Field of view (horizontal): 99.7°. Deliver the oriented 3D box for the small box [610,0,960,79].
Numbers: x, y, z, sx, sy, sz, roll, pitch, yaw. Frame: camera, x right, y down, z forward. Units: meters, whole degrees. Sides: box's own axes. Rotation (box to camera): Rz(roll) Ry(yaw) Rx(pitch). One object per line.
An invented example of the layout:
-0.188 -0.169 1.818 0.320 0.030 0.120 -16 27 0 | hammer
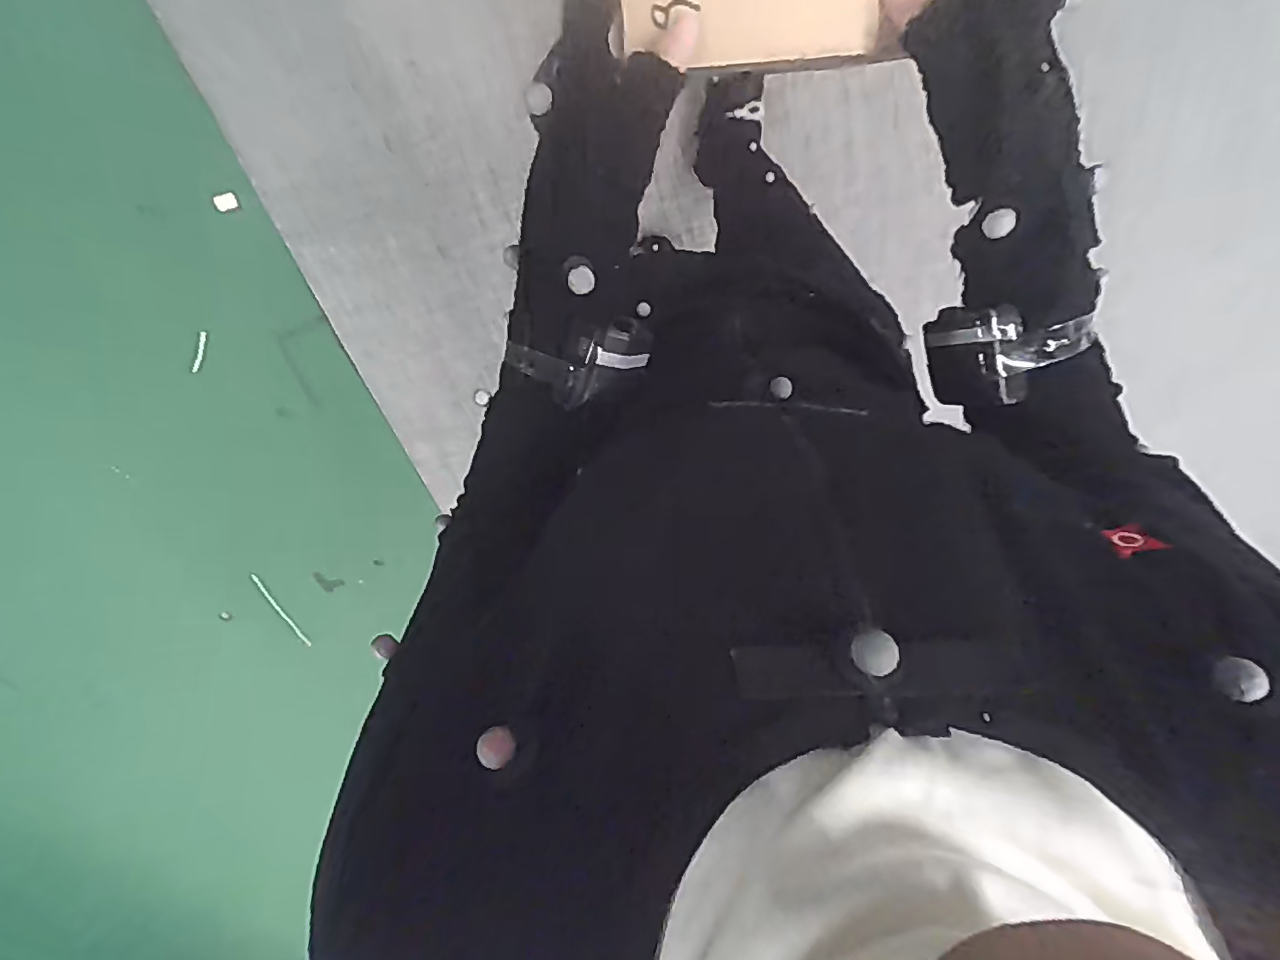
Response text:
0.070 -0.337 0.306 0.179 0.176 0.168 -5 123 -1 | small box
